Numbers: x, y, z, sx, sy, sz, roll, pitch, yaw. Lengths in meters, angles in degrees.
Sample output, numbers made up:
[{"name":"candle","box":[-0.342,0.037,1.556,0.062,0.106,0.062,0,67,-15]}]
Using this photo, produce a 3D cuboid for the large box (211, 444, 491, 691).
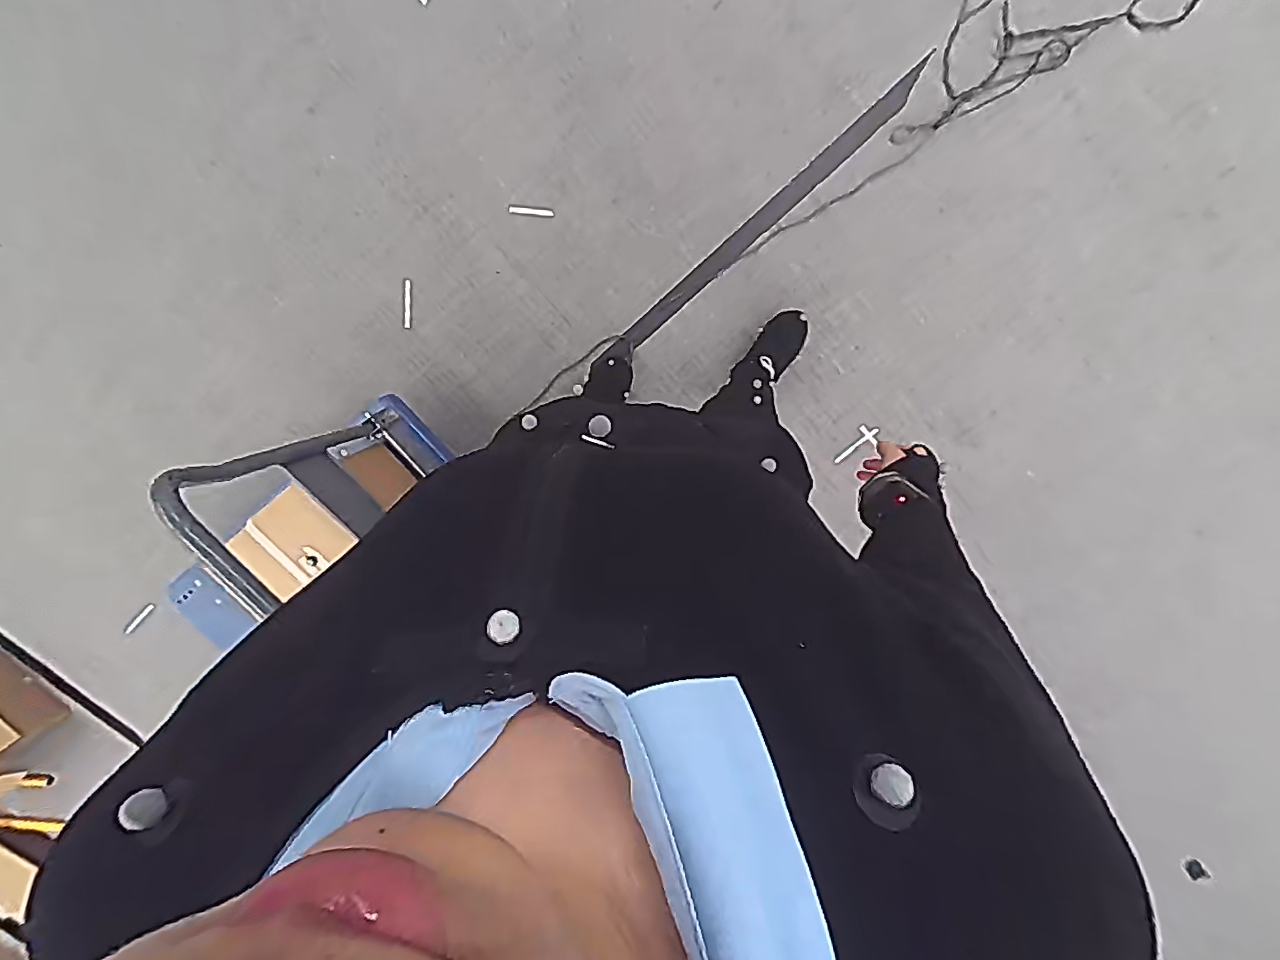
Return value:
[{"name":"large box","box":[-0.626,0.185,1.247,0.320,0.320,0.408,-37,100,11]}]
